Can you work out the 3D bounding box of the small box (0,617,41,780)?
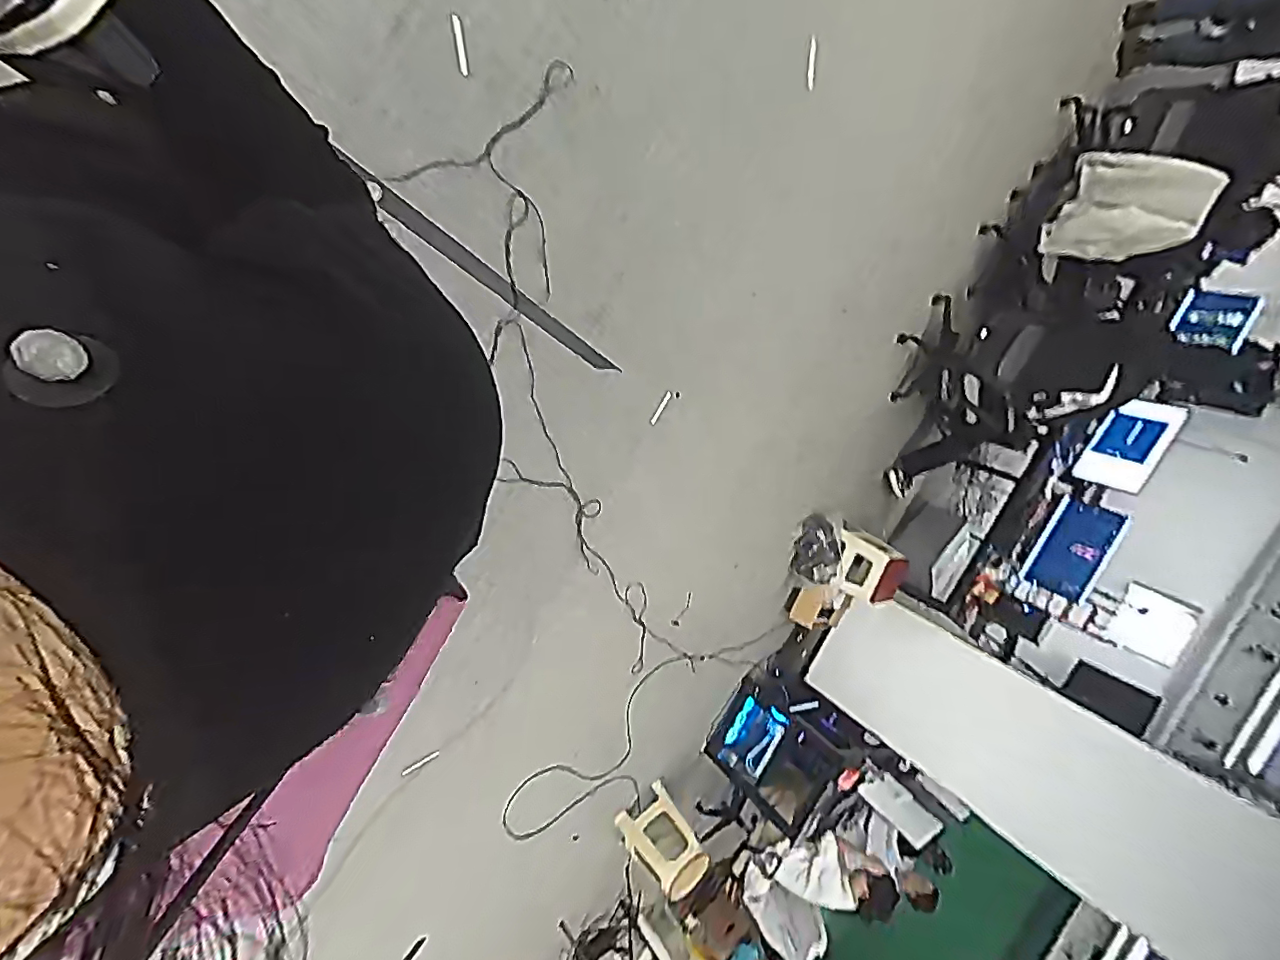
[{"bbox_3d":[-0.692,0.234,0.485,0.168,0.176,0.179,32,89,-49],"label":"small box"}]
